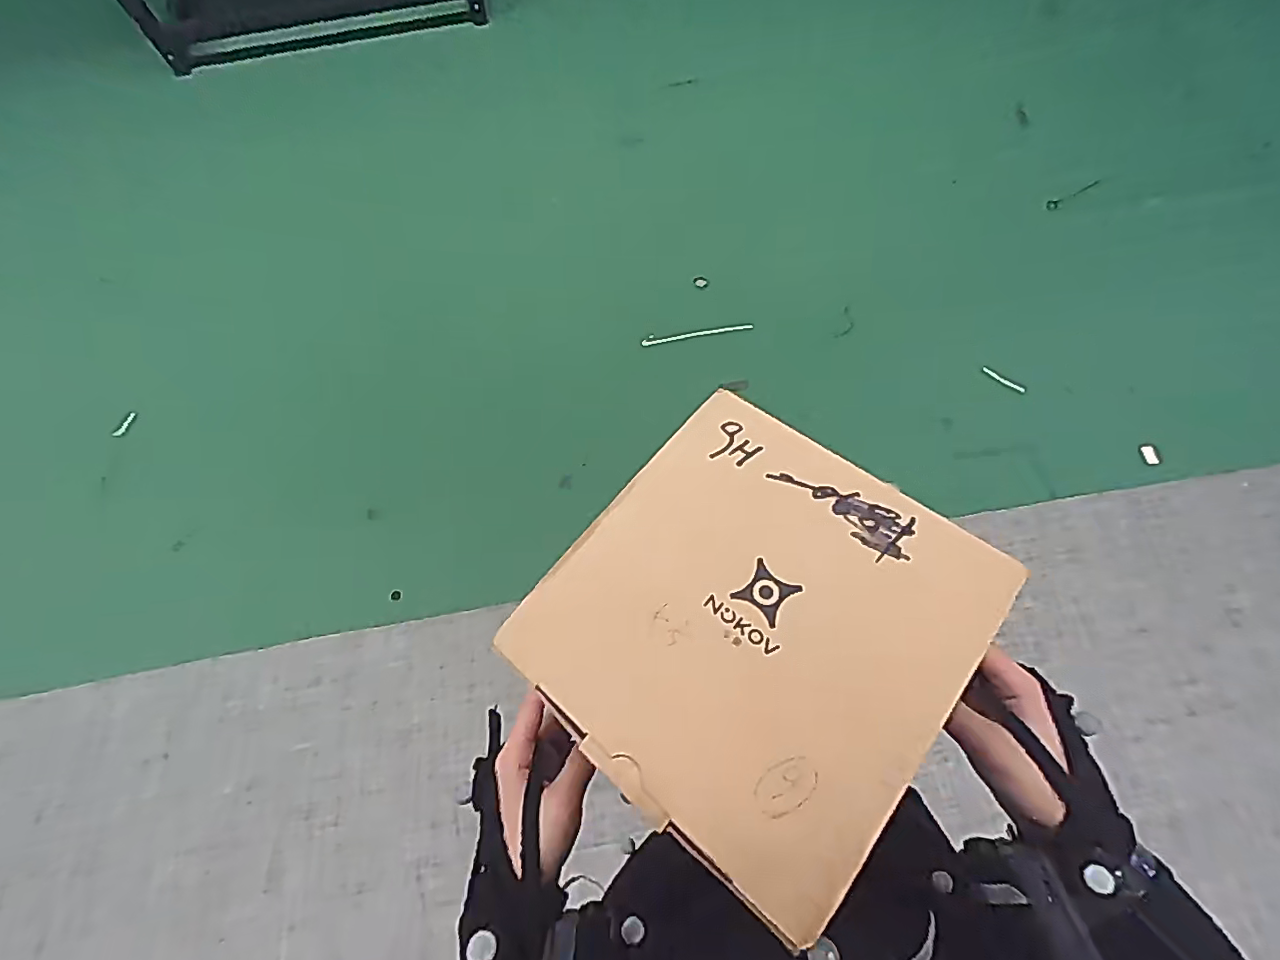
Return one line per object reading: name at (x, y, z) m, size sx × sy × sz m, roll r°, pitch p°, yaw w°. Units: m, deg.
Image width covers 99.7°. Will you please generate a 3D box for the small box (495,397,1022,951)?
small box at (0.059, 0.095, 0.307) m, size 0.168 × 0.176 × 0.179 m, roll 36°, pitch 73°, yaw 23°
